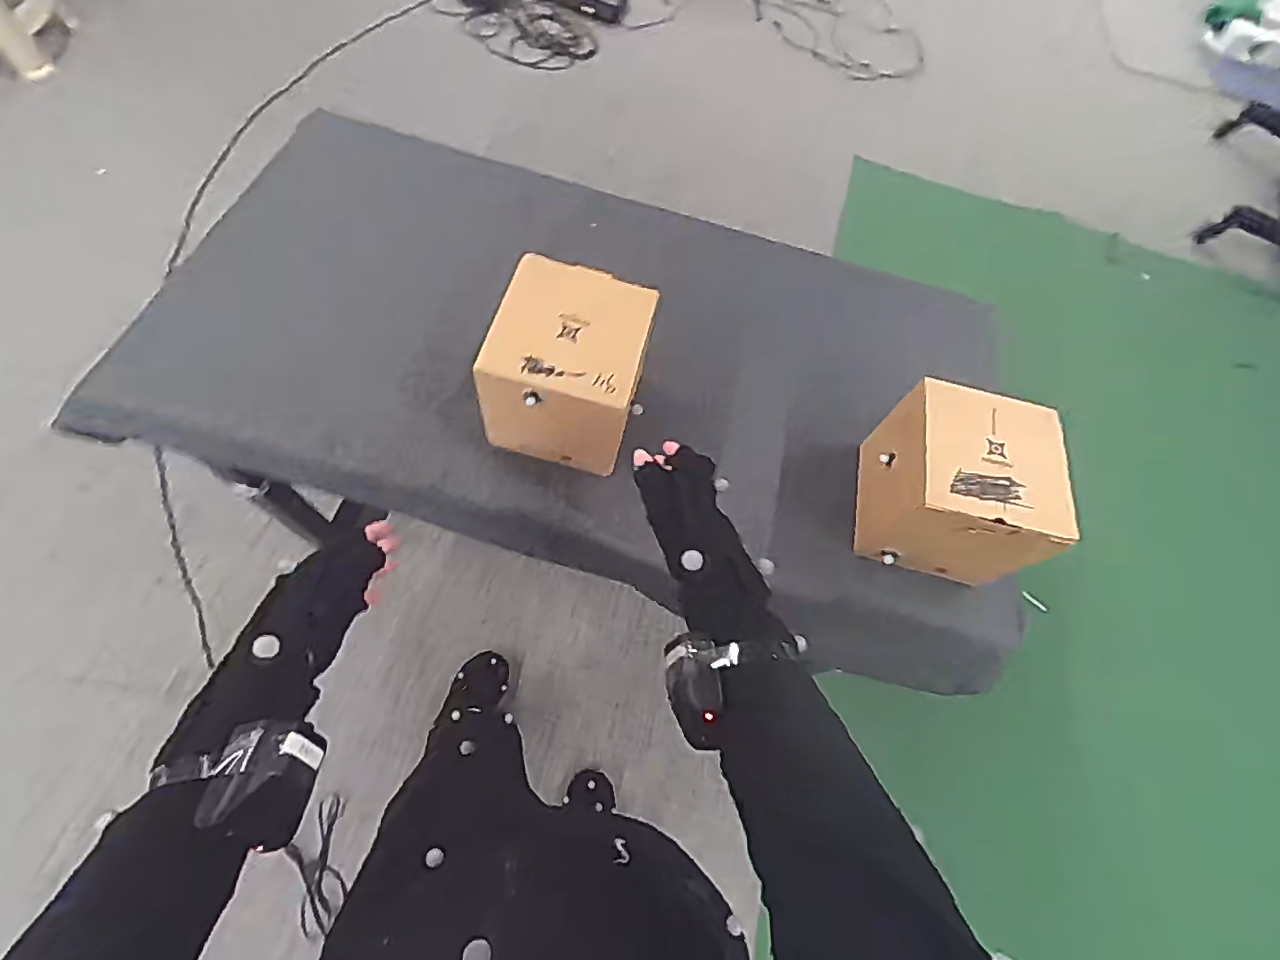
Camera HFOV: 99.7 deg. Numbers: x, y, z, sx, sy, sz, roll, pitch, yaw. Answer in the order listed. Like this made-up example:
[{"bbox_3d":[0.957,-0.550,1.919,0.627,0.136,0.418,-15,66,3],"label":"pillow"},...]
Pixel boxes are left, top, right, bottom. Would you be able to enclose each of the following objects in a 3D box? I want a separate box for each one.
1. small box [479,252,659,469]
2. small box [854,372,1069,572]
[{"bbox_3d":[-0.085,-0.141,0.675,0.168,0.176,0.179,15,64,-1],"label":"small box"},{"bbox_3d":[0.385,0.000,0.679,0.168,0.176,0.179,15,63,1],"label":"small box"}]
